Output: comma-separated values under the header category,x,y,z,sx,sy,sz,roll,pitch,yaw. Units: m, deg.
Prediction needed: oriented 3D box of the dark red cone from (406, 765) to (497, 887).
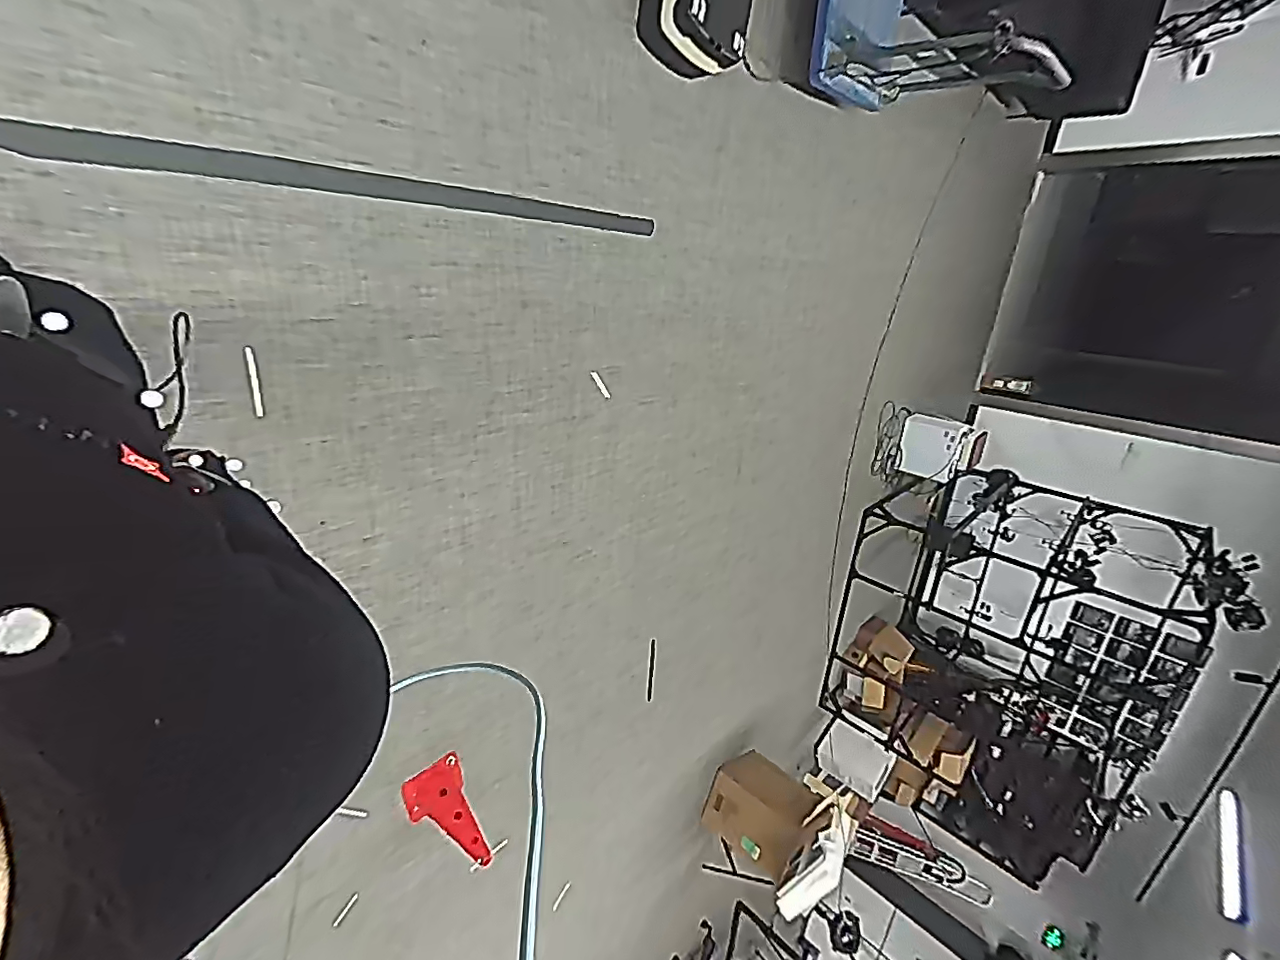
category,x,y,z,sx,sy,sz,roll,pitch,yaw
dark red cone,-0.580,1.142,1.747,0.201,0.394,0.202,-24,124,-38
